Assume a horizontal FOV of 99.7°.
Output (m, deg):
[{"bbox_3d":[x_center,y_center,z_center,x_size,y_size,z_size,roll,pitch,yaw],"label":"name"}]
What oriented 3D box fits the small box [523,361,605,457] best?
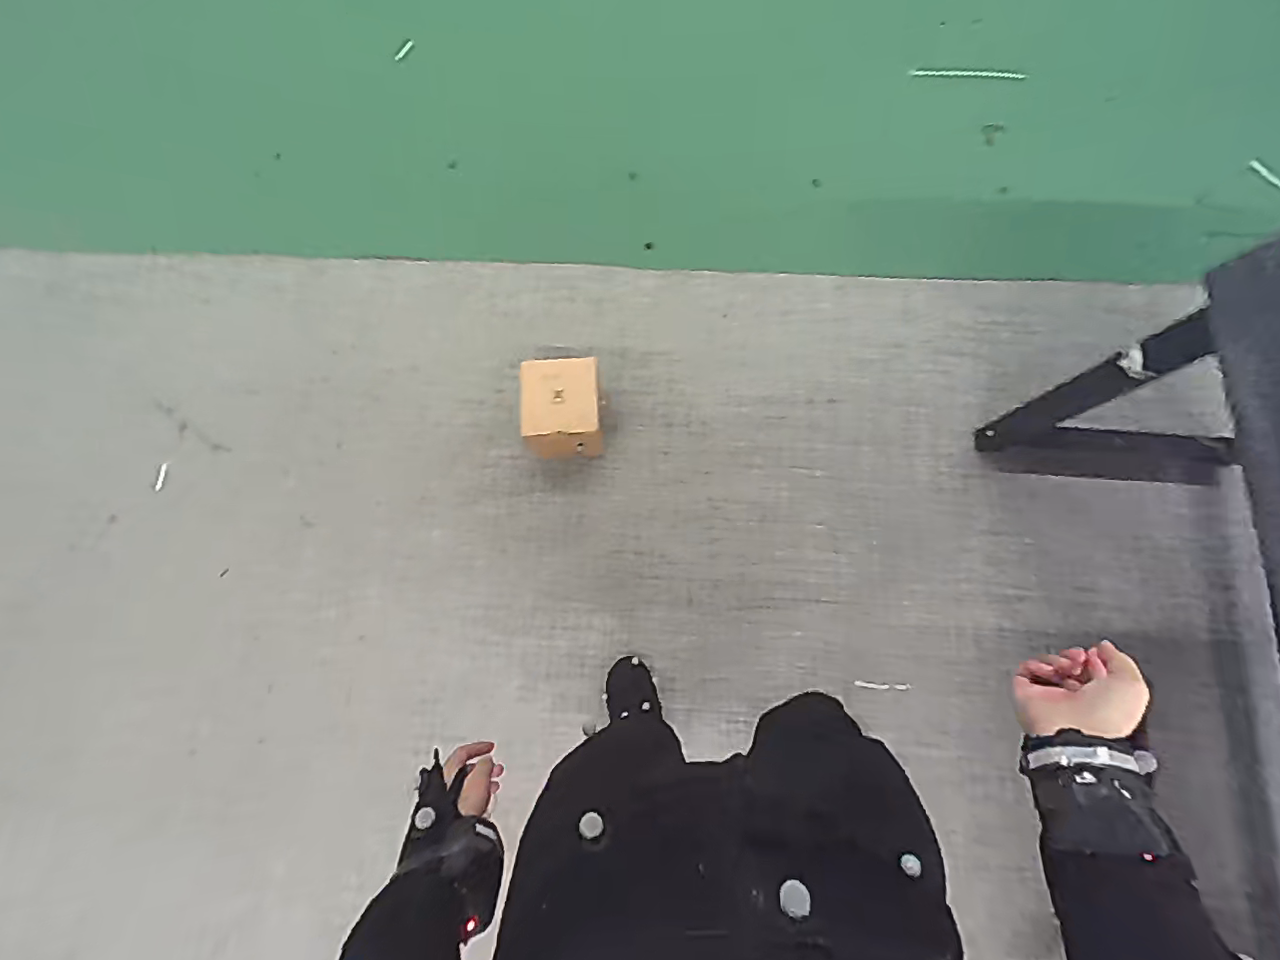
[{"bbox_3d":[-0.169,-0.154,1.241,0.168,0.176,0.179,-3,75,-1],"label":"small box"}]
